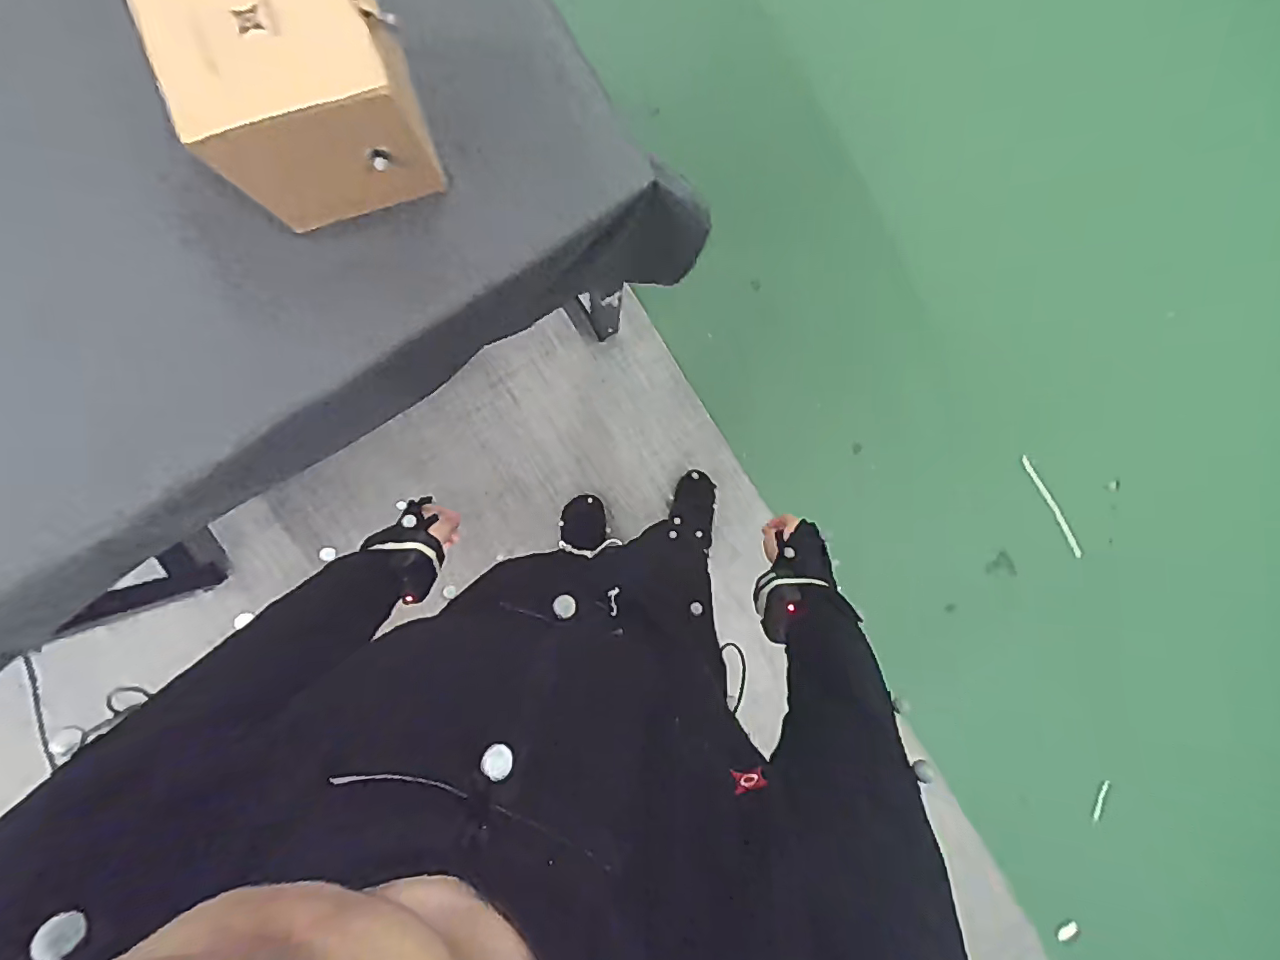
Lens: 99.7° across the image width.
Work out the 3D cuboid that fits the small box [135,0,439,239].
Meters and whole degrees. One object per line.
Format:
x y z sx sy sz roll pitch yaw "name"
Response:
-0.316 -0.367 0.526 0.179 0.176 0.168 -20 91 -3 "small box"
